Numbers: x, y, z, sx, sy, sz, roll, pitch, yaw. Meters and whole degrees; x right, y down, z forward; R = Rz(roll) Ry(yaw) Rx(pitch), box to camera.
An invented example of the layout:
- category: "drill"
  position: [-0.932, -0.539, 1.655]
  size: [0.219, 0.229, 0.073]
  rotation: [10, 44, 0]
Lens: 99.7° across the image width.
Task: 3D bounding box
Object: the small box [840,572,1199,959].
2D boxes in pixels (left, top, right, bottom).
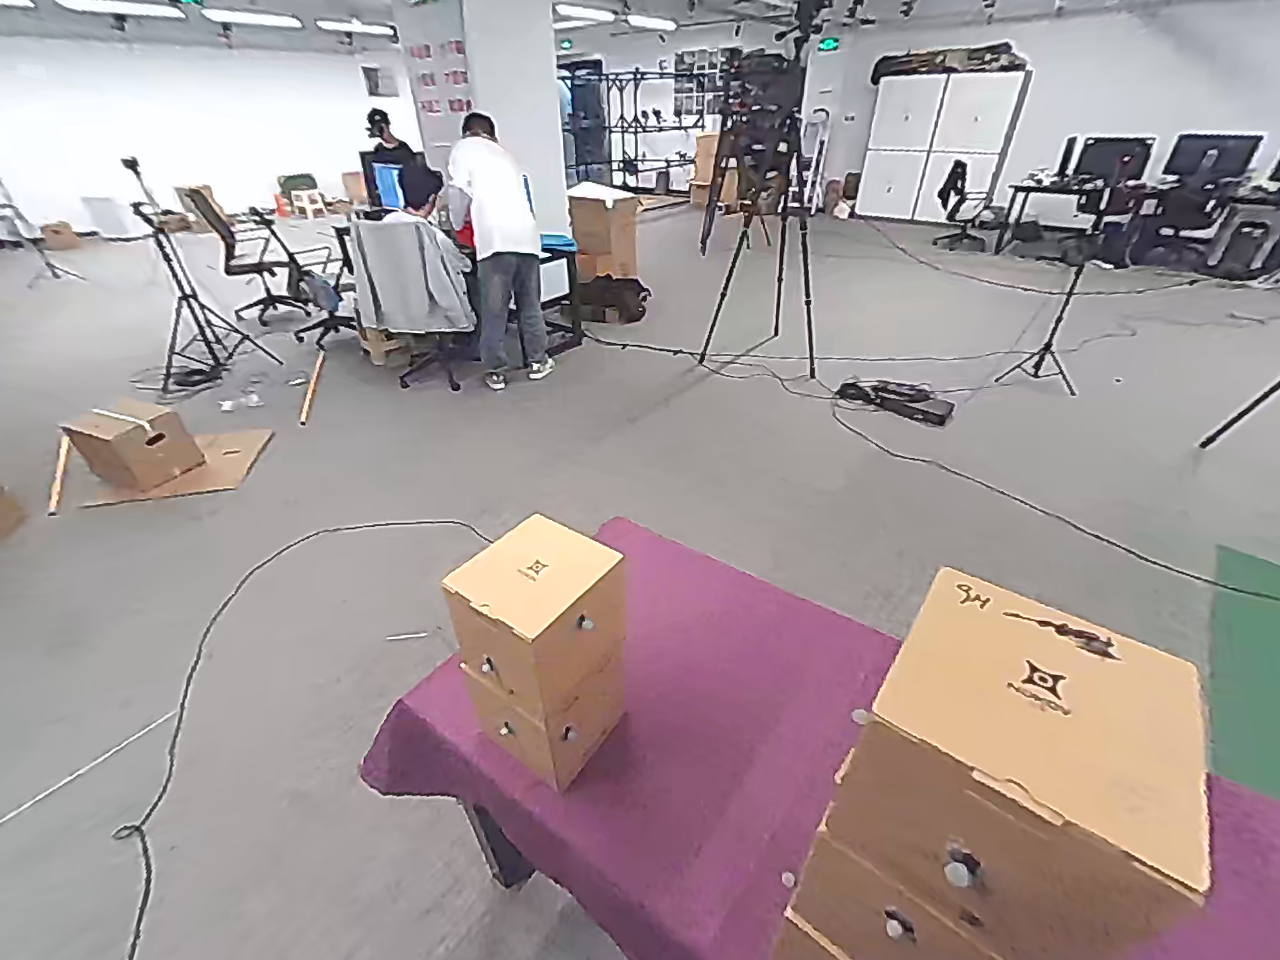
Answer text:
- category: "small box"
  position: [0.267, 0.210, 0.406]
  size: [0.168, 0.176, 0.179]
  rotation: [25, 43, 32]

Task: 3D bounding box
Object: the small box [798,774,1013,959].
- category: "small box"
  position: [0.265, 0.350, 0.493]
  size: [0.179, 0.176, 0.168]
  rotation: [25, 42, 31]

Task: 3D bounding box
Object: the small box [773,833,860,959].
- category: "small box"
  position: [0.258, 0.485, 0.589]
  size: [0.168, 0.176, 0.179]
  rotation: [24, 42, 31]

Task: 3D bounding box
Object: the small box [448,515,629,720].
- category: "small box"
  position: [-0.131, 0.183, 0.745]
  size: [0.168, 0.176, 0.179]
  rotation: [22, 41, 29]
